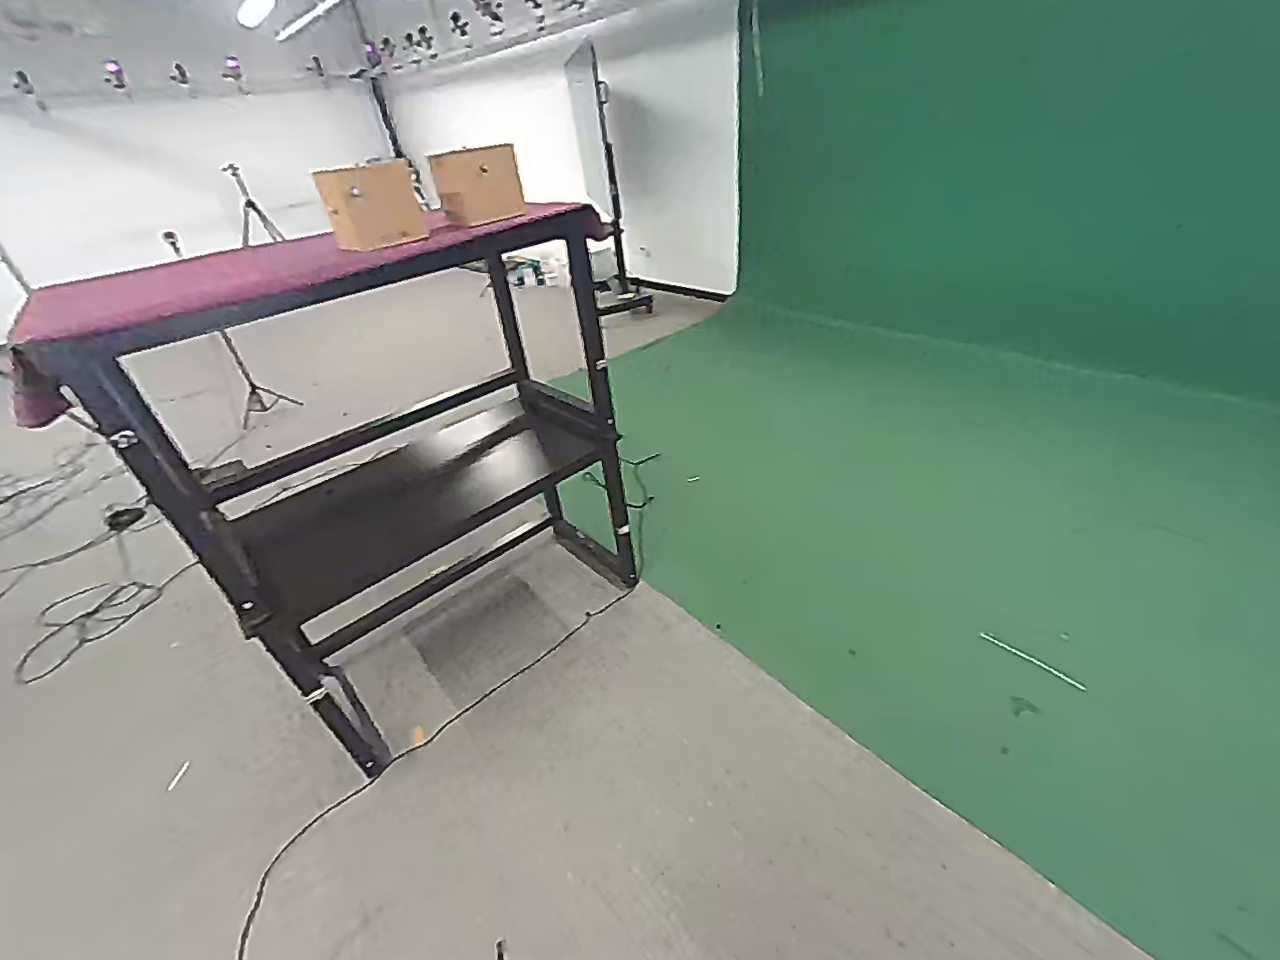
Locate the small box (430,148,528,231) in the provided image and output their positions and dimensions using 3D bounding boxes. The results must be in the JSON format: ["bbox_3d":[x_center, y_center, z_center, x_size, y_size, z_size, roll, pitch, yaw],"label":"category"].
[{"bbox_3d":[-0.423,-0.771,1.439,0.179,0.176,0.168,-30,40,-30],"label":"small box"}]
